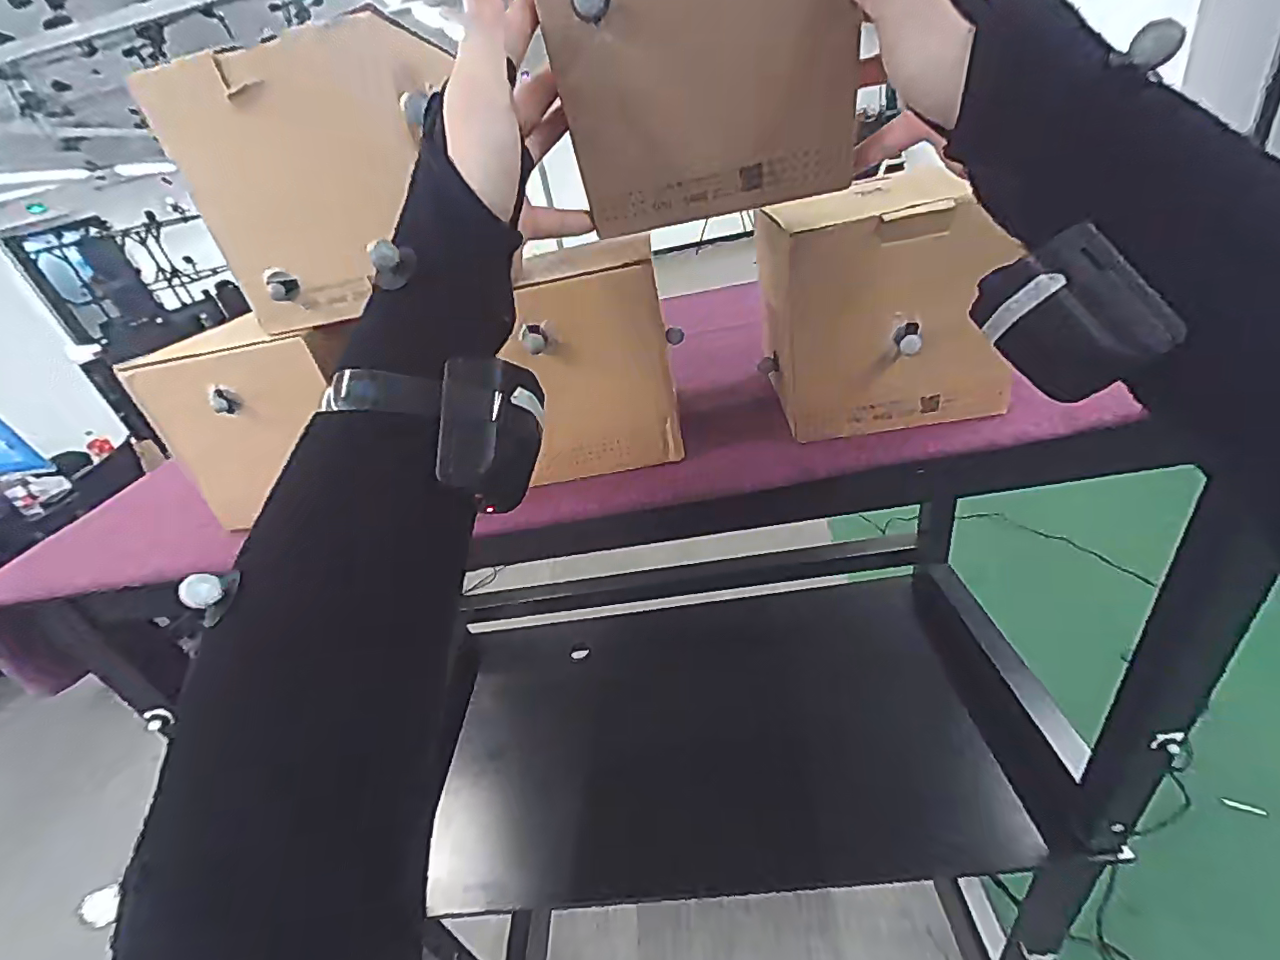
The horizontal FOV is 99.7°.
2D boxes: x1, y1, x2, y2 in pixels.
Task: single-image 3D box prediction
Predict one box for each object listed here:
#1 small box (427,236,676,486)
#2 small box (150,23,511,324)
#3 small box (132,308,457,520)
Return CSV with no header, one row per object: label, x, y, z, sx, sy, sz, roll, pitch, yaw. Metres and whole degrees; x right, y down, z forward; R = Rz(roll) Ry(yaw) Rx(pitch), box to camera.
small box,-0.062,-0.113,0.510,0.179,0.176,0.168,-10,30,6
small box,-0.222,-0.238,0.452,0.168,0.176,0.179,-9,29,6
small box,-0.314,-0.073,0.536,0.179,0.176,0.168,-6,31,9
